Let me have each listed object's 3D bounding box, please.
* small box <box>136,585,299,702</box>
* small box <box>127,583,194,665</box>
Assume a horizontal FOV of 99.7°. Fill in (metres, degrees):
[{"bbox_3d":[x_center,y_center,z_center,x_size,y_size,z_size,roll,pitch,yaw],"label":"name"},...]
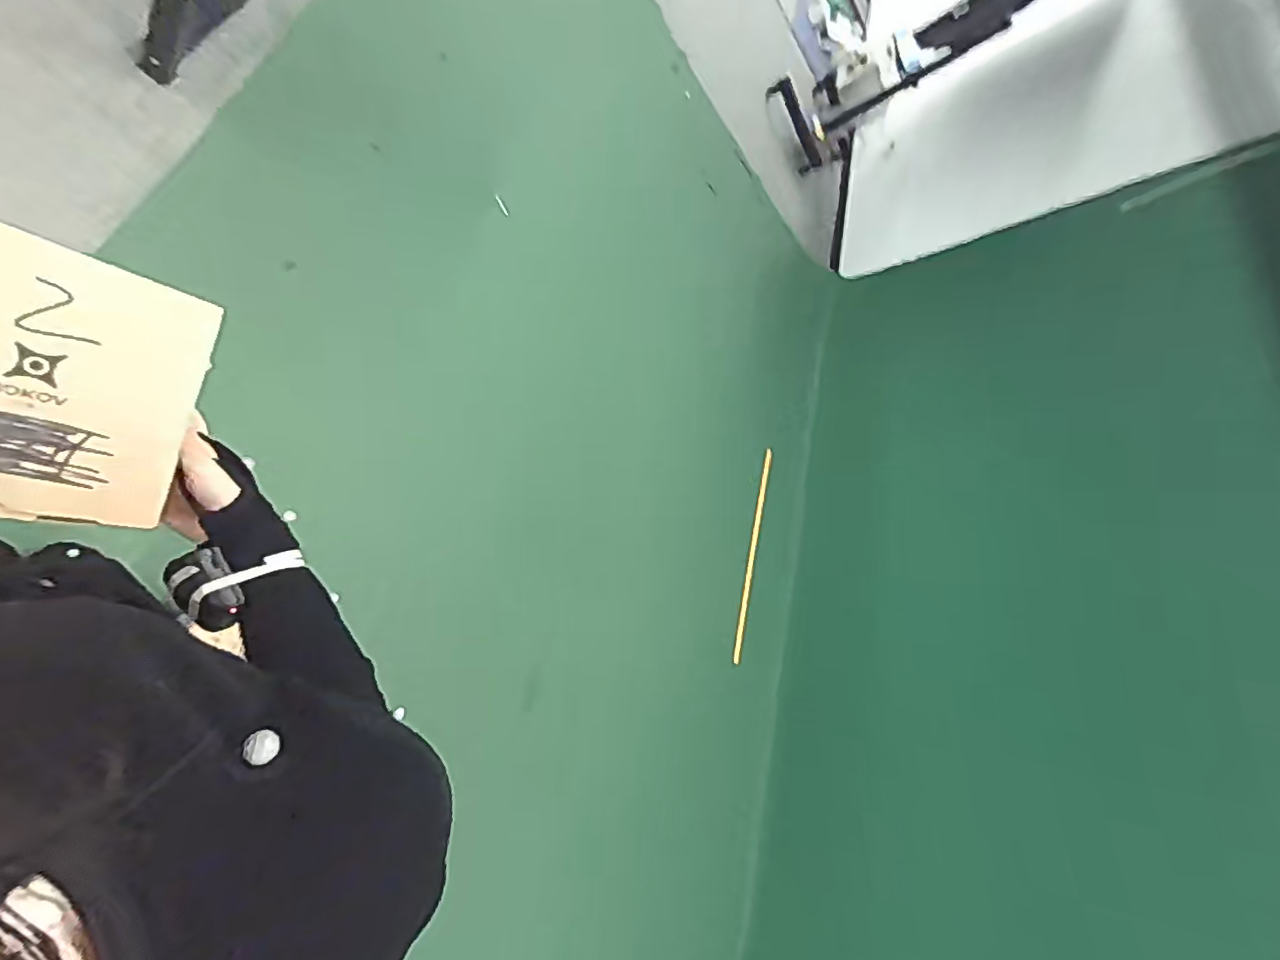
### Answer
[{"bbox_3d":[-0.814,0.309,1.044,0.179,0.176,0.168,41,56,-37],"label":"small box"},{"bbox_3d":[-0.939,0.326,1.152,0.179,0.176,0.168,38,58,-39],"label":"small box"}]
